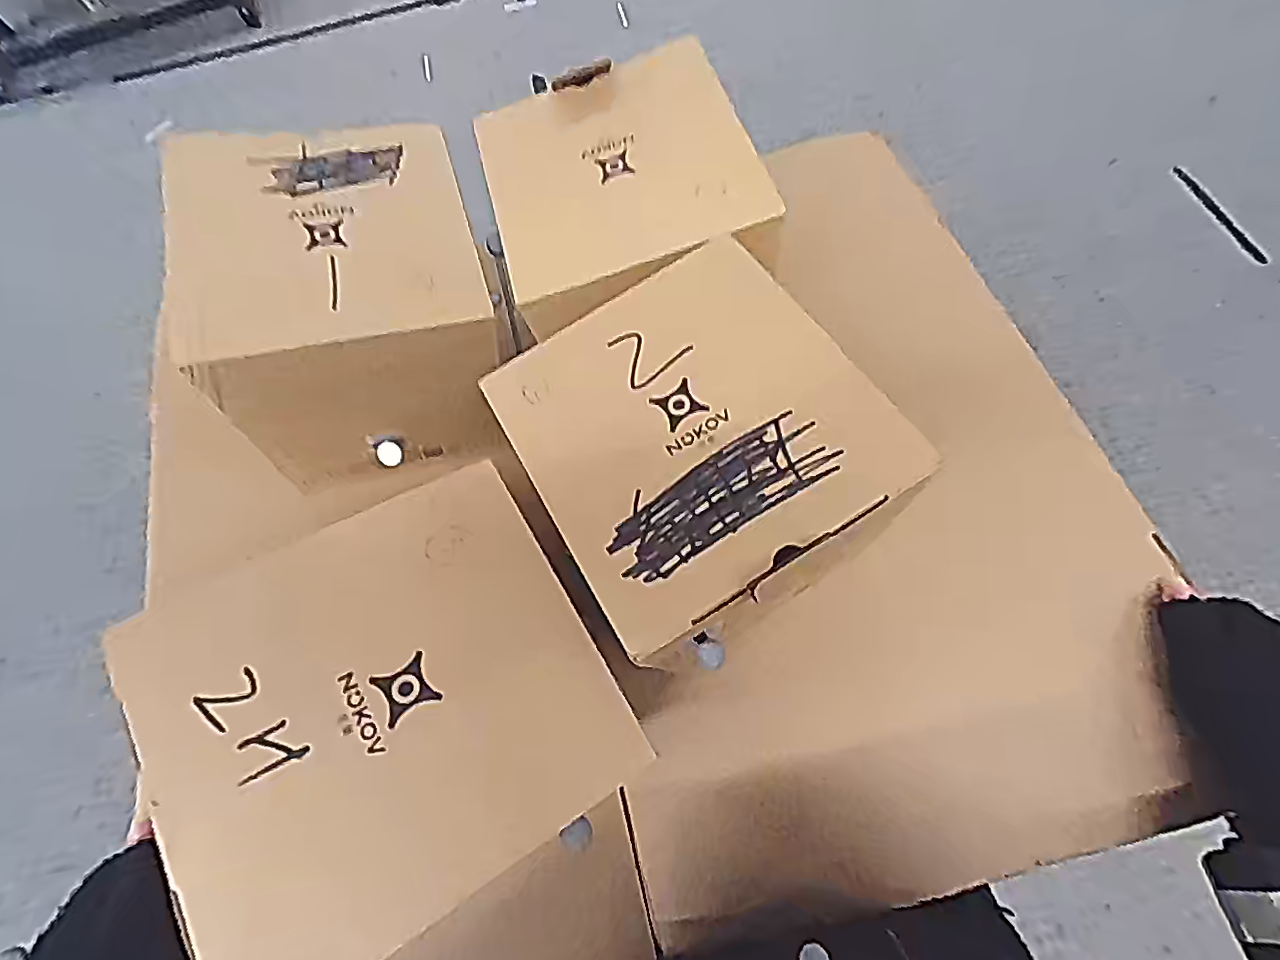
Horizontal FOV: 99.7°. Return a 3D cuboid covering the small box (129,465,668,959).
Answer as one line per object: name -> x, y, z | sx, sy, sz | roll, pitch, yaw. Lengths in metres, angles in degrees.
small box -> -0.112, 0.123, 0.303 | 0.179, 0.176, 0.168 | -27, 73, -19
